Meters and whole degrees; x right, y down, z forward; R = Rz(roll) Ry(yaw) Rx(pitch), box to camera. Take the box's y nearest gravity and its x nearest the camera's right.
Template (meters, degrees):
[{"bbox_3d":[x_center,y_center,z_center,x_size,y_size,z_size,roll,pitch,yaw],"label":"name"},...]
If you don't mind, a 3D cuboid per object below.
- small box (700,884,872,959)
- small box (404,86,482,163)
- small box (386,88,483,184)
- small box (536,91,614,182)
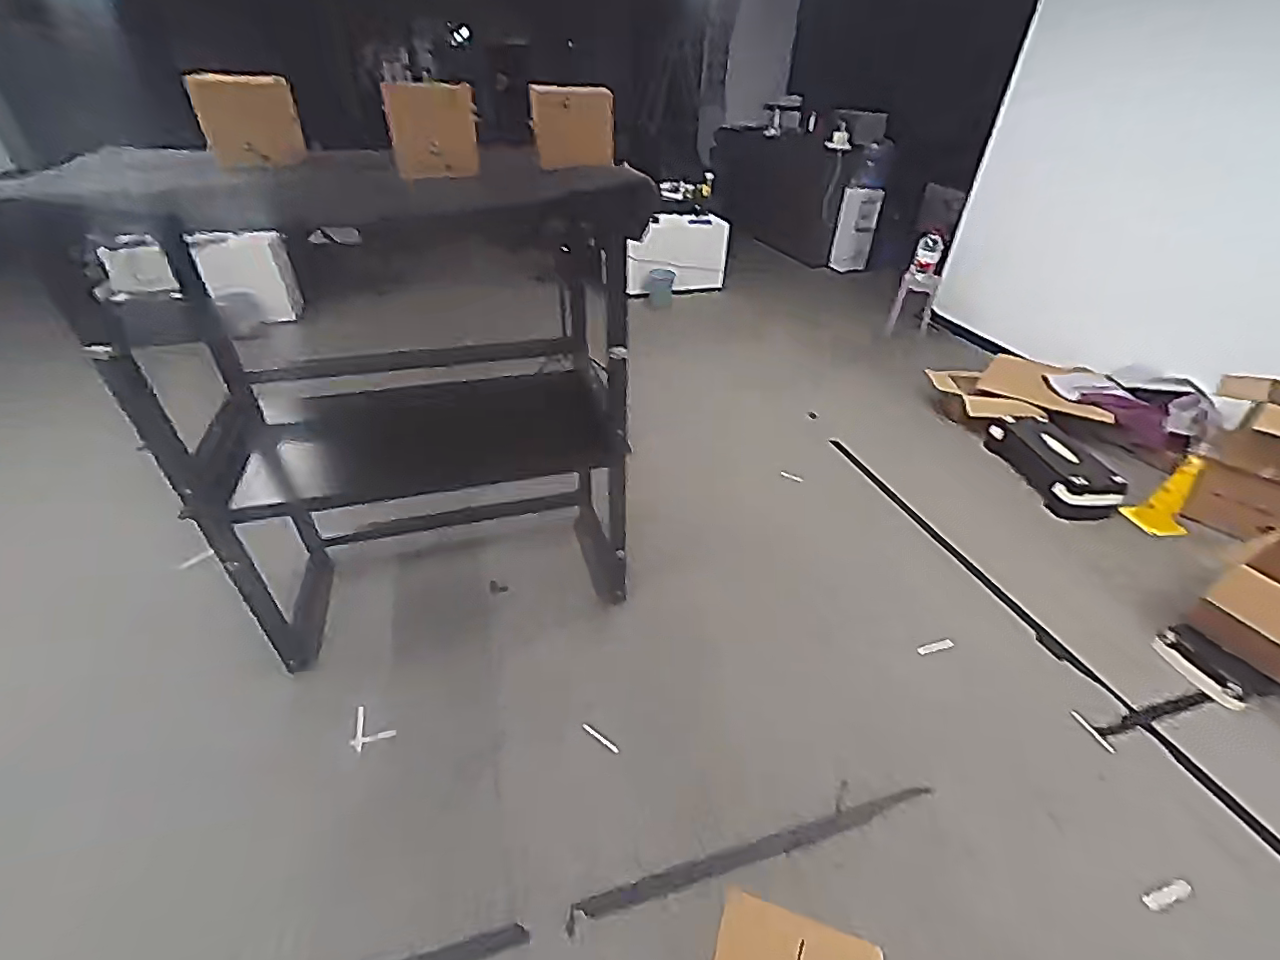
[{"bbox_3d":[0.135,0.576,0.557,0.168,0.176,0.179,11,35,17],"label":"small box"},{"bbox_3d":[-0.506,-0.910,1.400,0.179,0.176,0.168,-8,37,-13],"label":"small box"},{"bbox_3d":[-0.448,-0.765,1.204,0.168,0.176,0.179,-8,36,-12],"label":"small box"},{"bbox_3d":[-0.156,-0.818,1.287,0.168,0.176,0.179,-7,37,-11],"label":"small box"}]
